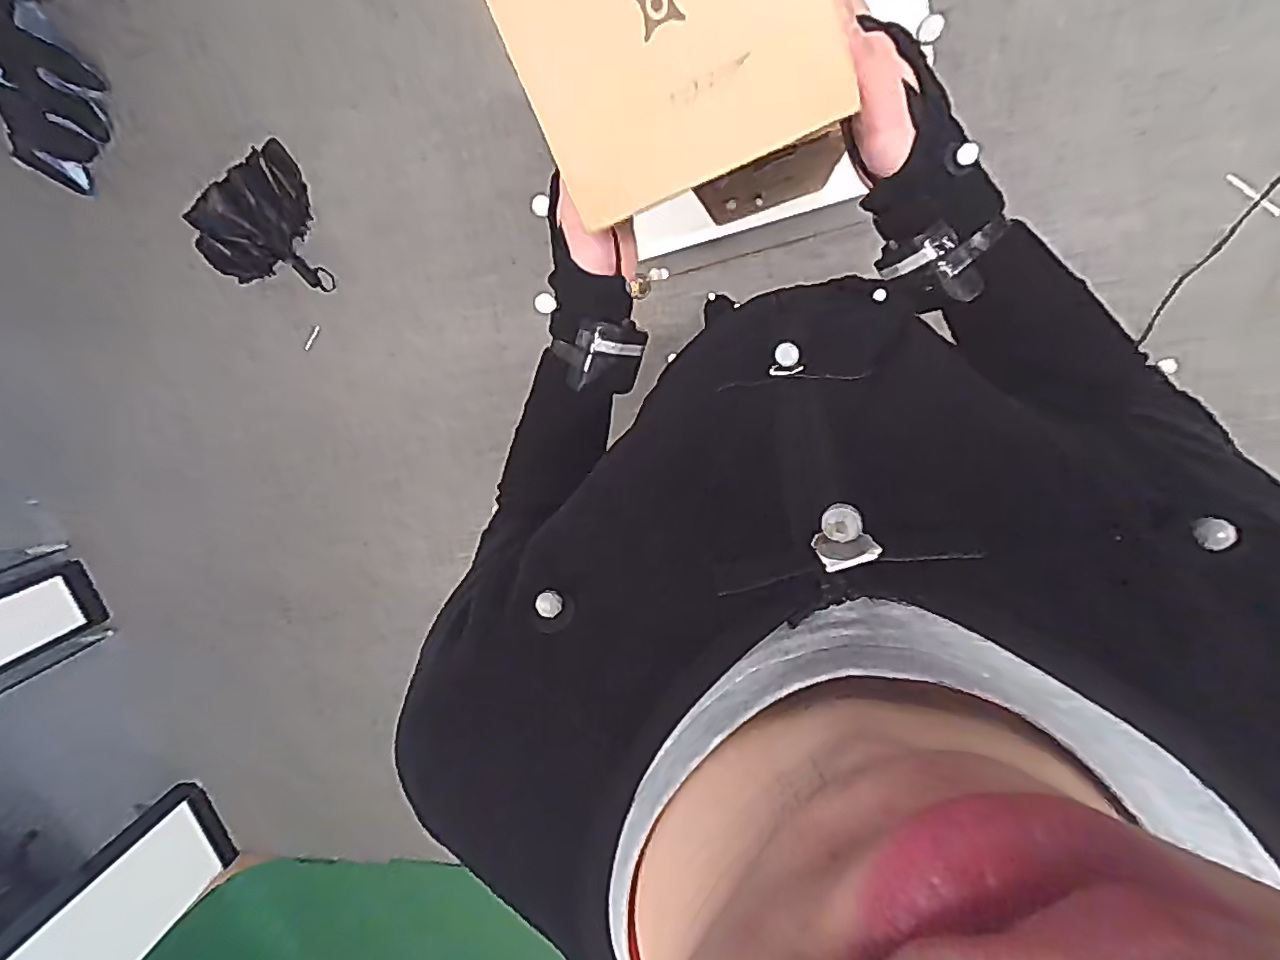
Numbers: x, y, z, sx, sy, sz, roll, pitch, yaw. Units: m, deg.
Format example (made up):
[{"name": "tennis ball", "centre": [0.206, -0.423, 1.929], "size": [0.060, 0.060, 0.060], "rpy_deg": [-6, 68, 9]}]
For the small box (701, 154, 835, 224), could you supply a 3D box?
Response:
[{"name": "small box", "centre": [0.149, -0.466, 0.720], "size": [0.168, 0.176, 0.179], "rpy_deg": [-14, 105, 17]}]

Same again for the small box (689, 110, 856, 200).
[{"name": "small box", "centre": [0.115, -0.414, 0.566], "size": [0.168, 0.176, 0.179], "rpy_deg": [-13, 104, 16]}]

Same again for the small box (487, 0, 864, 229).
[{"name": "small box", "centre": [0.022, -0.285, 0.330], "size": [0.168, 0.176, 0.179], "rpy_deg": [-16, 120, 22]}]
